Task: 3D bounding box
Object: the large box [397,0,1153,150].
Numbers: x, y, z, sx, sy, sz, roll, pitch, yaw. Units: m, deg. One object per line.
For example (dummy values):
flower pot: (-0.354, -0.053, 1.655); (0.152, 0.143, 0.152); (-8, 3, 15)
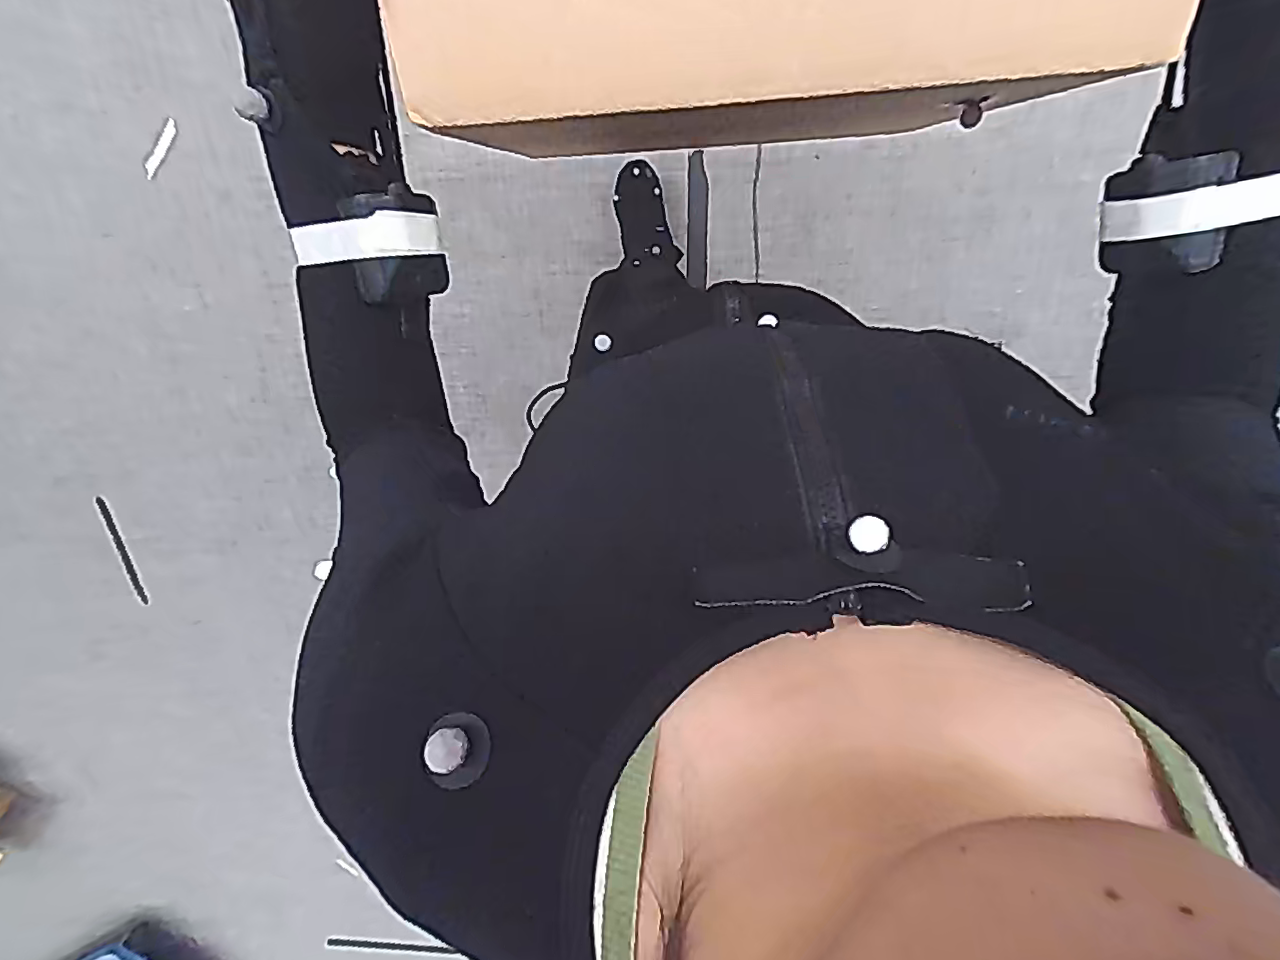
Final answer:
large box: (0.065, -0.422, 0.361); (0.408, 0.320, 0.320); (-3, 117, 3)
